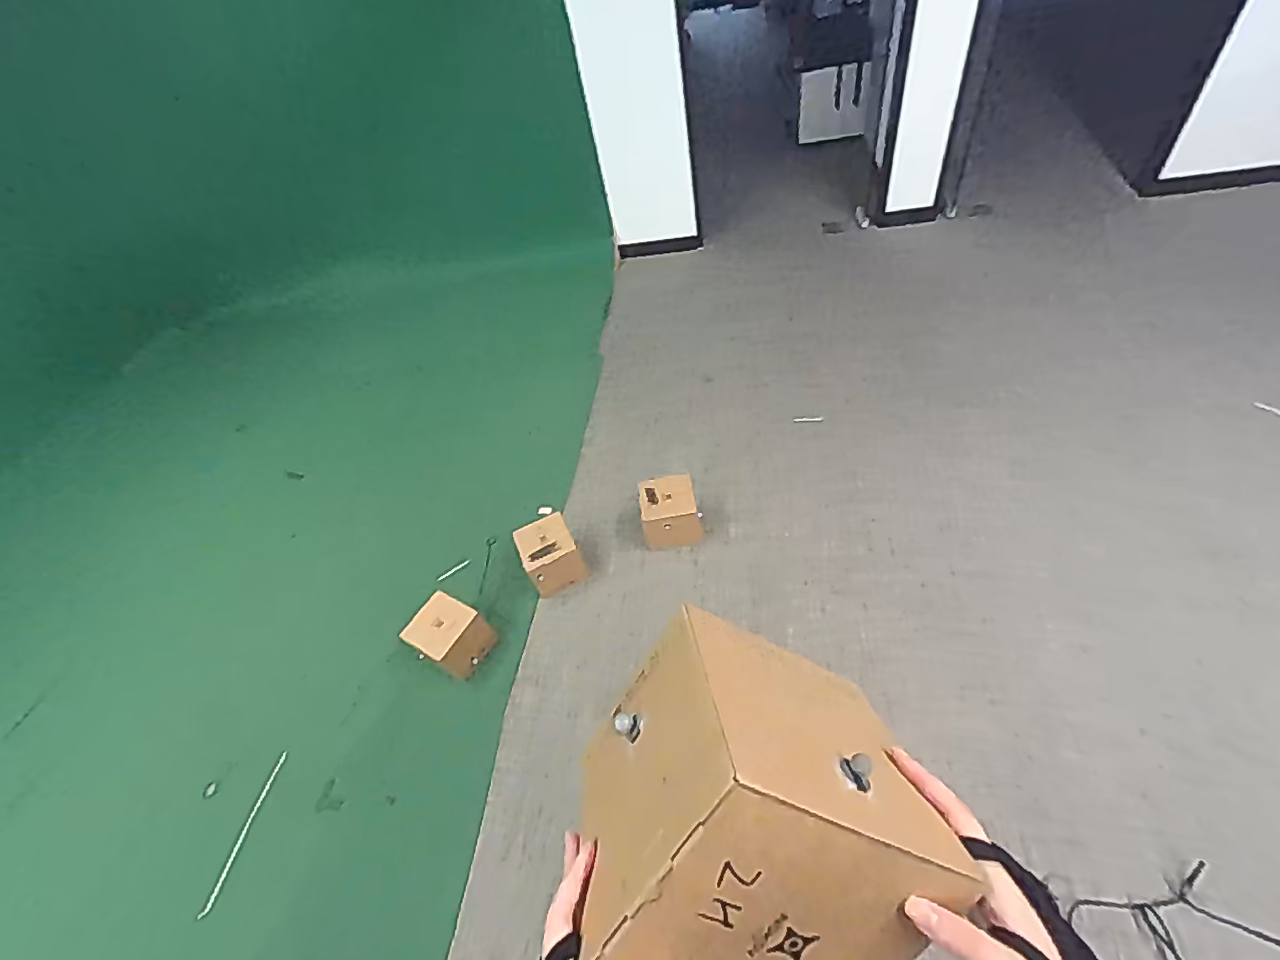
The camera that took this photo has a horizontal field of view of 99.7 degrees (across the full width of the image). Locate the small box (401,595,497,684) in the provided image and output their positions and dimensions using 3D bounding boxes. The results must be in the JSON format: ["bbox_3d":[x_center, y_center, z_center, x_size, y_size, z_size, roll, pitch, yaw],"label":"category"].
[{"bbox_3d":[-0.563,0.479,1.615,0.179,0.176,0.168,19,56,27],"label":"small box"}]

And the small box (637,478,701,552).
[{"bbox_3d":[0.095,0.120,1.774,0.179,0.176,0.168,-10,48,4],"label":"small box"}]
